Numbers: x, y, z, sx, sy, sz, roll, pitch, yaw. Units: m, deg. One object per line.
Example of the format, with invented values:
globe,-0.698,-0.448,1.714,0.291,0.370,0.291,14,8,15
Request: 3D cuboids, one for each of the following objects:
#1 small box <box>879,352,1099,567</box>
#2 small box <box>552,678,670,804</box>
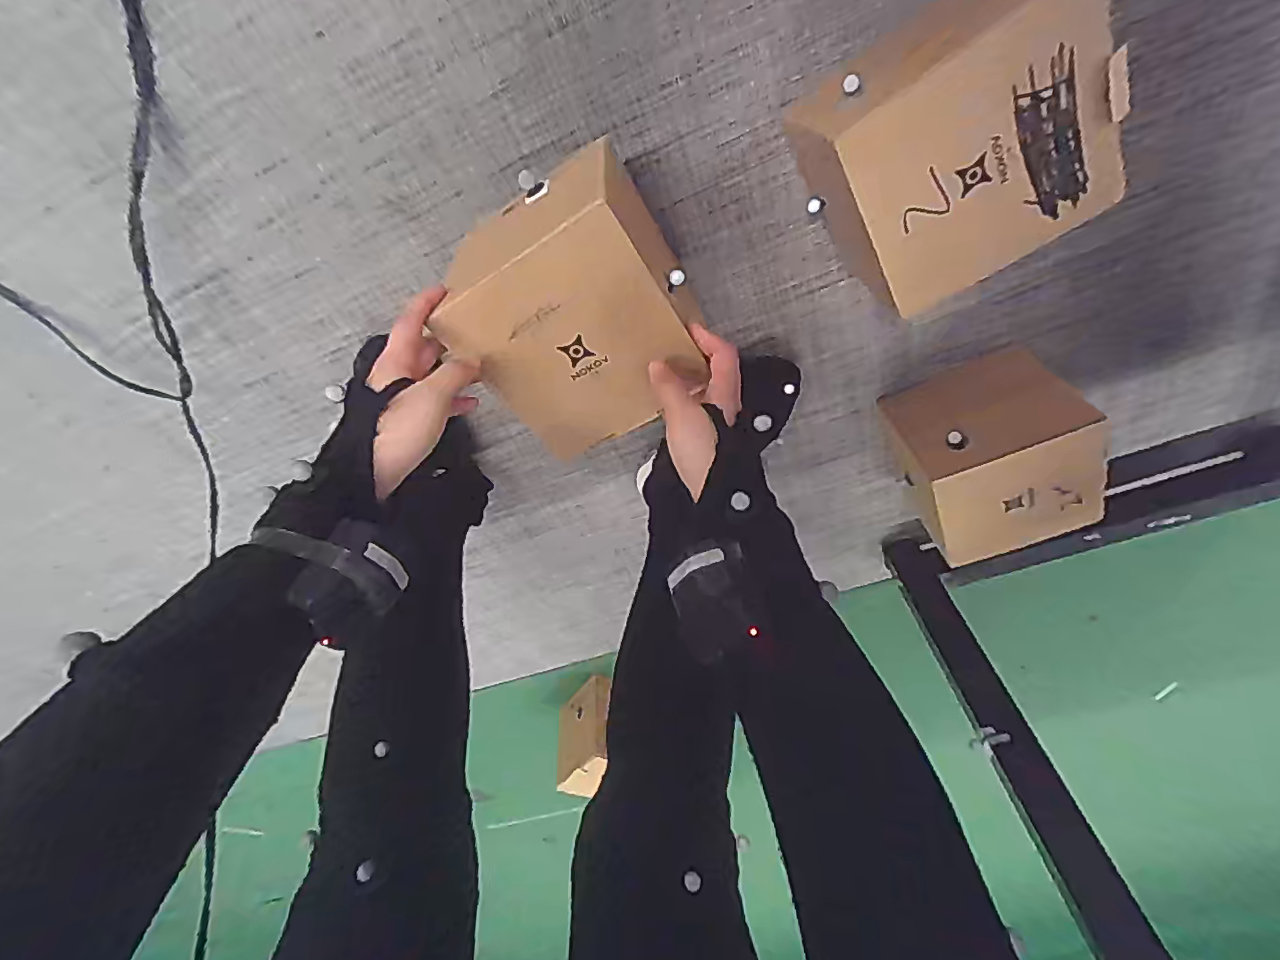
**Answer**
small box,0.418,-0.027,0.673,0.179,0.176,0.168,-24,127,15
small box,-0.058,0.530,1.102,0.179,0.176,0.168,25,124,-21
